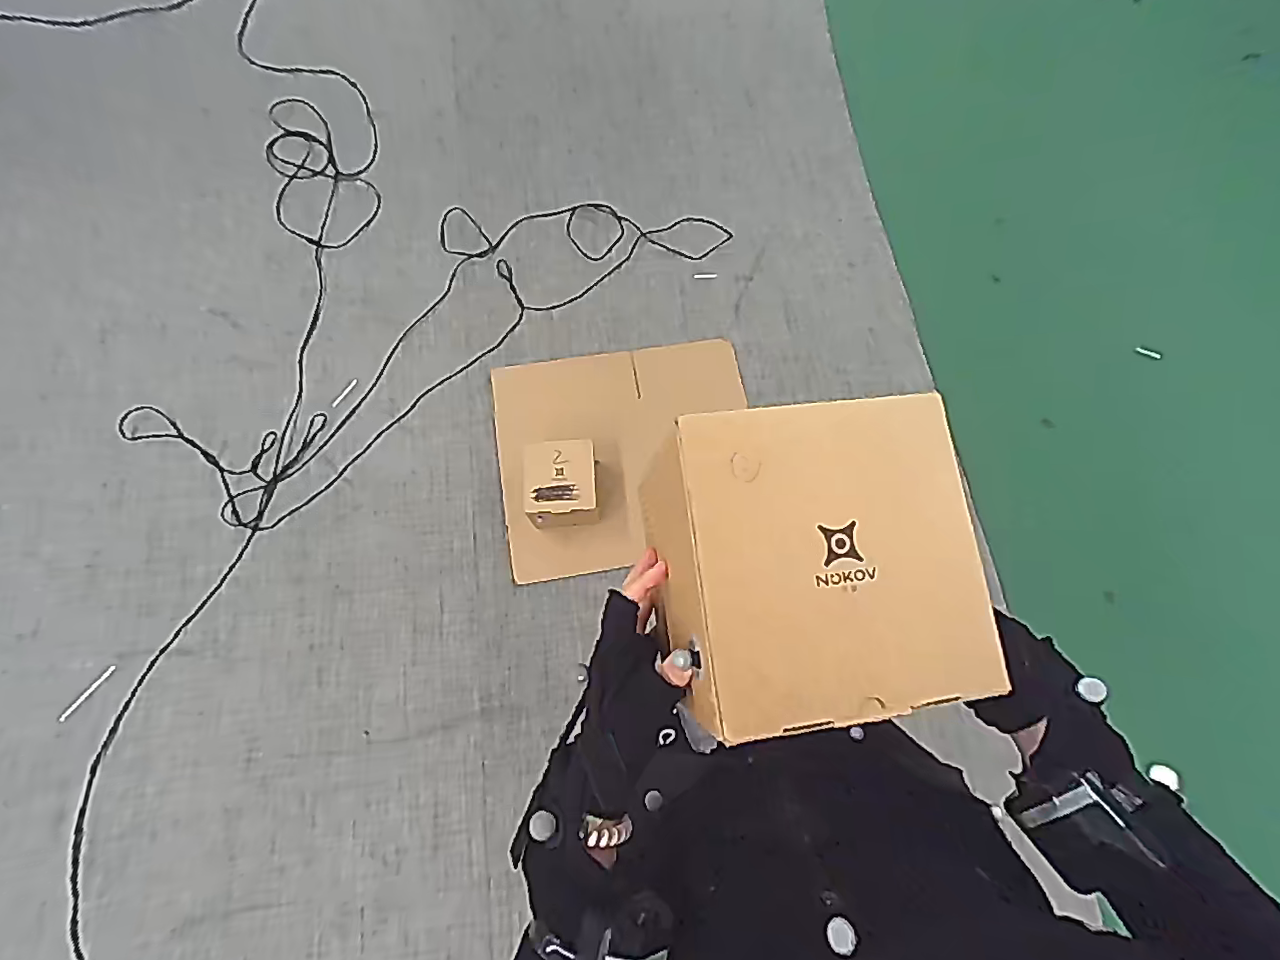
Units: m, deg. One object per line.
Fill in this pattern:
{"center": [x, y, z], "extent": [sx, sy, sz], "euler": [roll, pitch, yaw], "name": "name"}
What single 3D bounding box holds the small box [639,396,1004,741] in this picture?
{"center": [0.098, 0.057, 0.378], "extent": [0.168, 0.176, 0.179], "euler": [-6, 80, -9], "name": "small box"}
